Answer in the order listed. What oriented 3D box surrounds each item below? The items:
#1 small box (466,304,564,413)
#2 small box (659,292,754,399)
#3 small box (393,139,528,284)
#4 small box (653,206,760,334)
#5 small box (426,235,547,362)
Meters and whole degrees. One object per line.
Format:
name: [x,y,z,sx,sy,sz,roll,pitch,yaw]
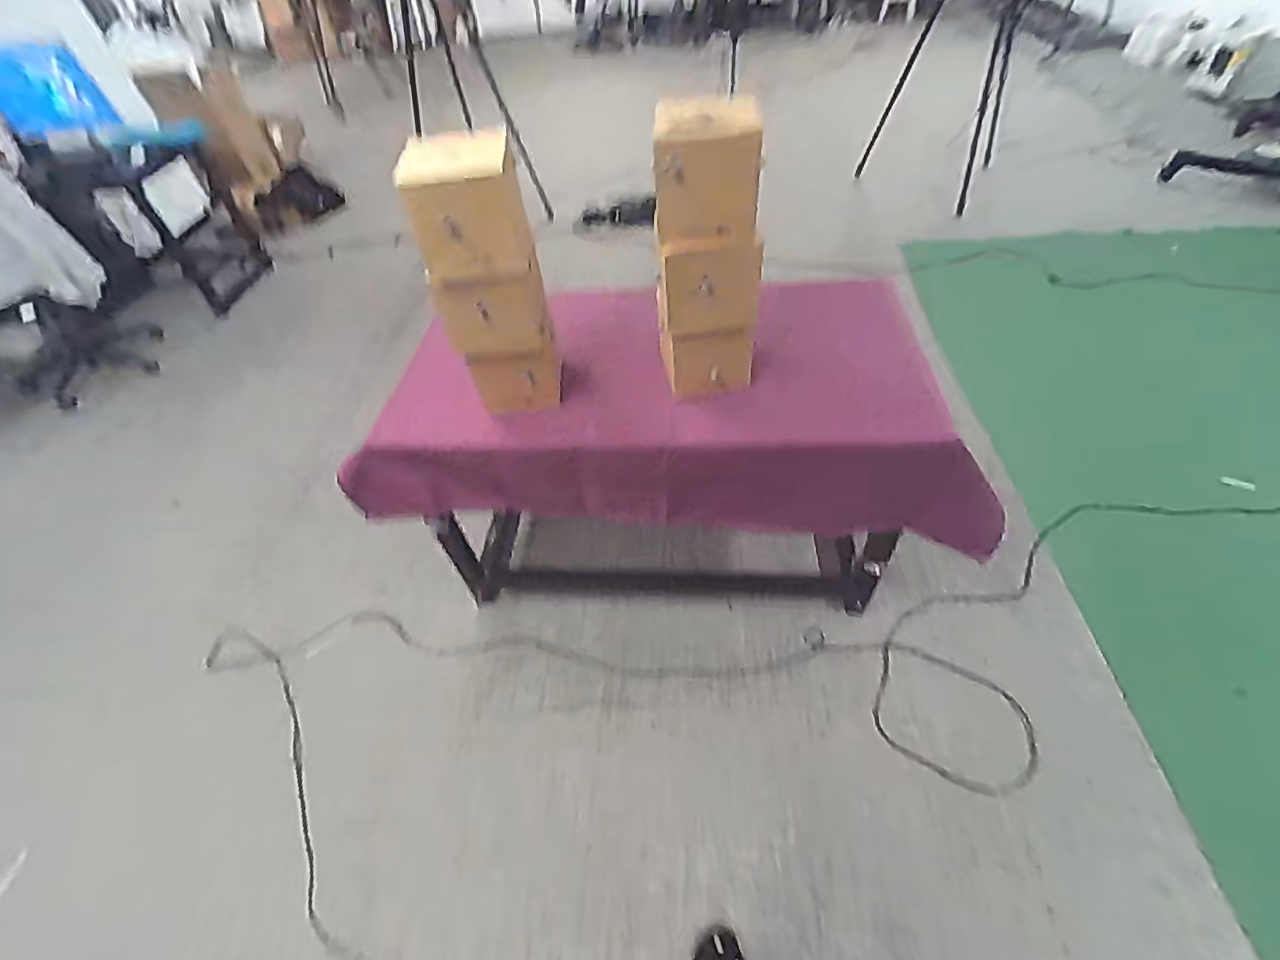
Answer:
small box: [-0.265,-0.259,1.186,0.168,0.176,0.179,-5,47,2]
small box: [0.138,-0.301,1.165,0.168,0.176,0.179,-11,48,-1]
small box: [-0.290,-0.448,0.919,0.168,0.176,0.179,-9,48,-1]
small box: [0.124,-0.395,1.030,0.179,0.176,0.168,-7,48,2]
small box: [-0.284,-0.348,1.048,0.179,0.176,0.168,-6,48,2]
